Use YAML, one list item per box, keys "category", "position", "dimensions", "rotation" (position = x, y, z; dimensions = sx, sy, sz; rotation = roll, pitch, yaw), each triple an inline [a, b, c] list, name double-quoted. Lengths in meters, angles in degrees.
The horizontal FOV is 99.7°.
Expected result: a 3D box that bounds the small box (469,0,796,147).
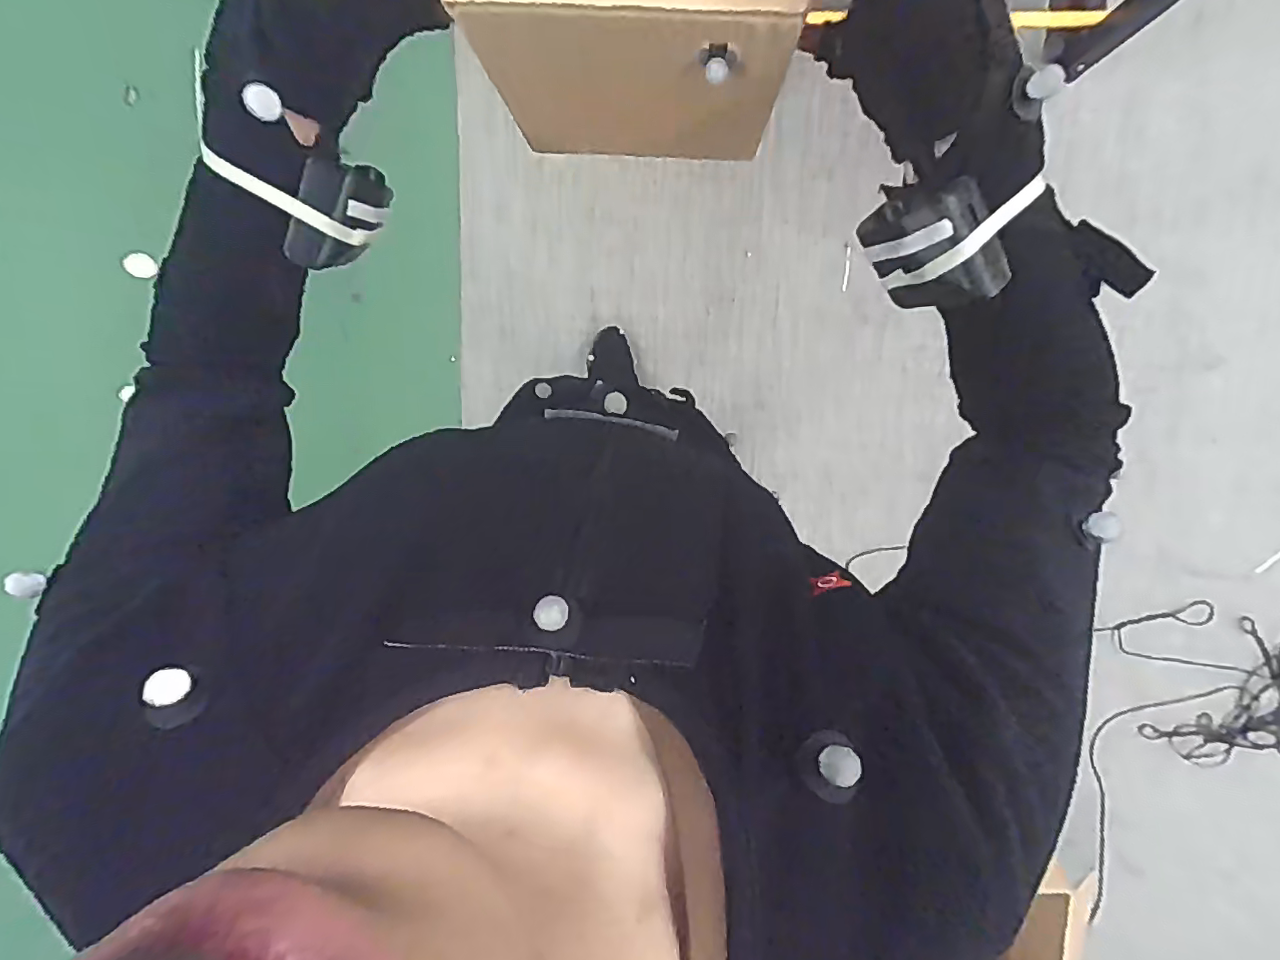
- category: "small box"
  position: [0.001, -0.325, 0.326]
  dimensions: [0.179, 0.176, 0.168]
  rotation: [3, 100, 2]
